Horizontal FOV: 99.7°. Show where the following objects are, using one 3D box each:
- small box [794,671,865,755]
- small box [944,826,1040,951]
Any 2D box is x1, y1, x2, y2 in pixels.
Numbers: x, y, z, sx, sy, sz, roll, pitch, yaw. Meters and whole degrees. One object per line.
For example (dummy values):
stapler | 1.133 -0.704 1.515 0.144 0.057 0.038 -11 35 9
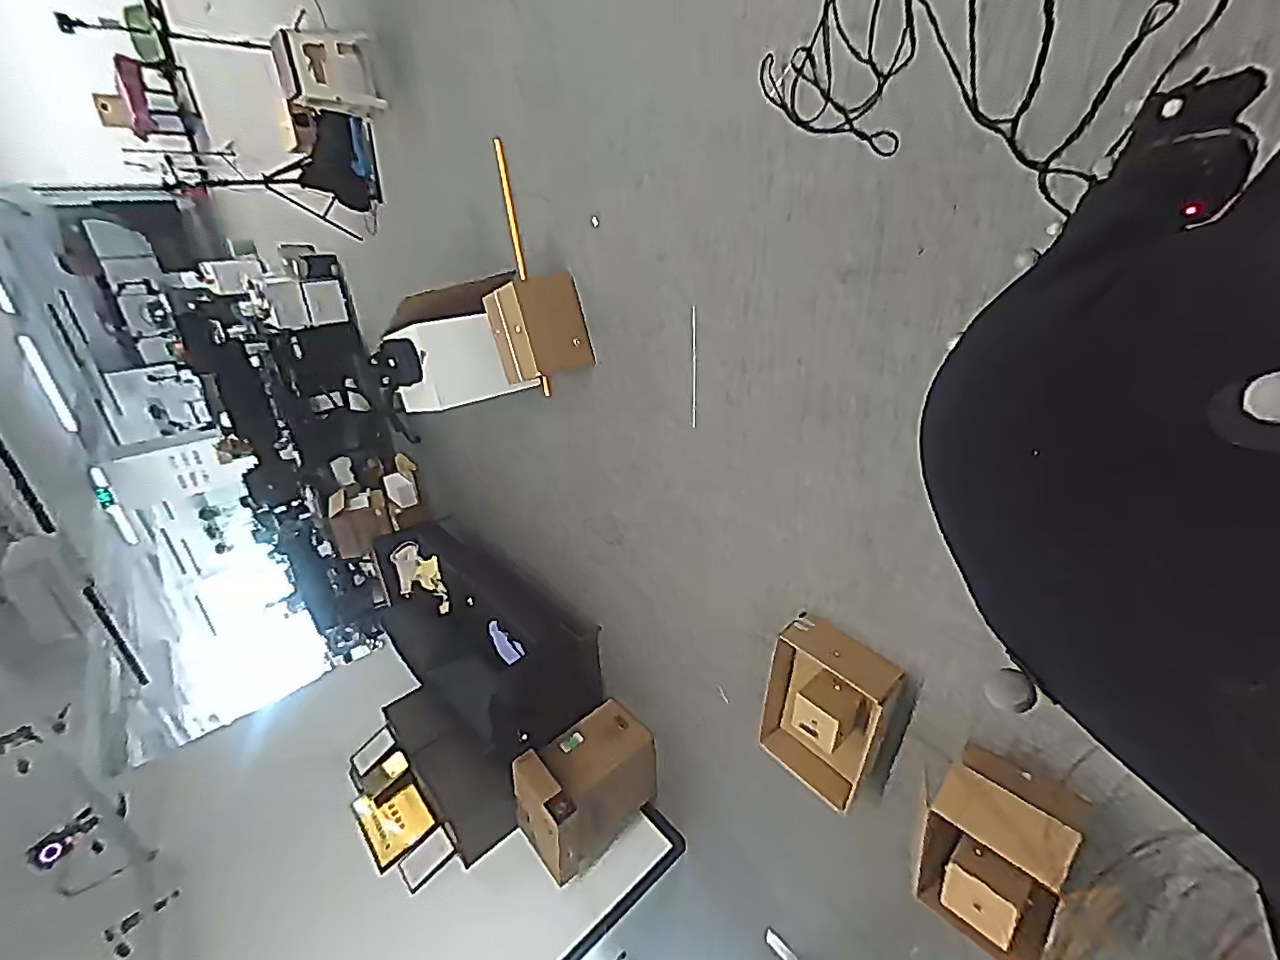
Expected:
small box | 0.669 0.818 1.911 0.168 0.176 0.179 28 129 42
small box | 0.957 1.097 1.469 0.168 0.176 0.179 20 122 46
